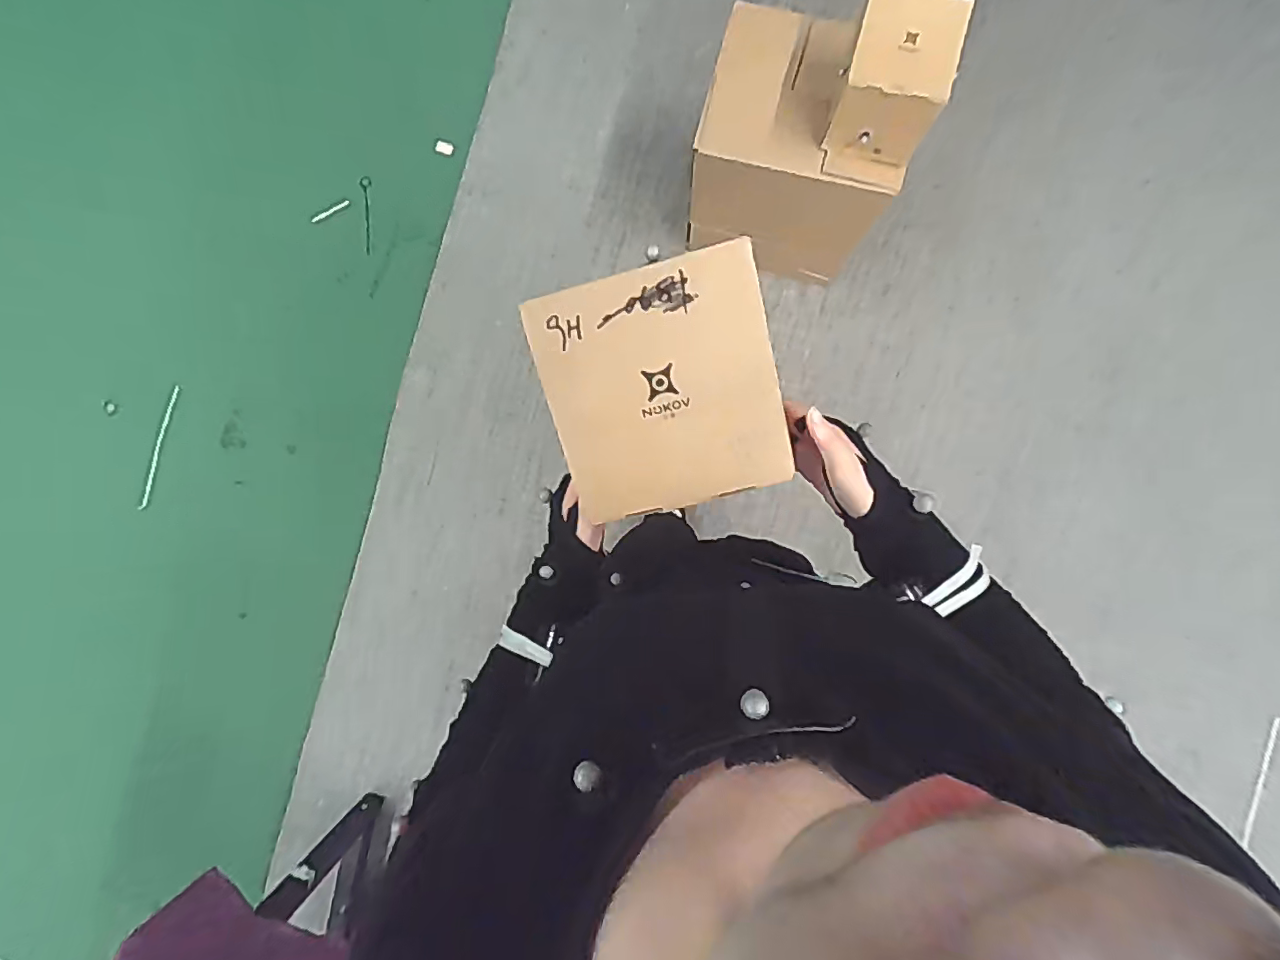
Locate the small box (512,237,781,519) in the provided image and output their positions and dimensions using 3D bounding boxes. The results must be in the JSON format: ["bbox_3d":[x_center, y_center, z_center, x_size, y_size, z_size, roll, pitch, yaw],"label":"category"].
[{"bbox_3d":[0.014,-0.090,0.465,0.168,0.176,0.179,-13,106,8],"label":"small box"}]

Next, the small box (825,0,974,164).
[{"bbox_3d":[0.441,-0.703,0.950,0.168,0.176,0.179,15,90,4],"label":"small box"}]
